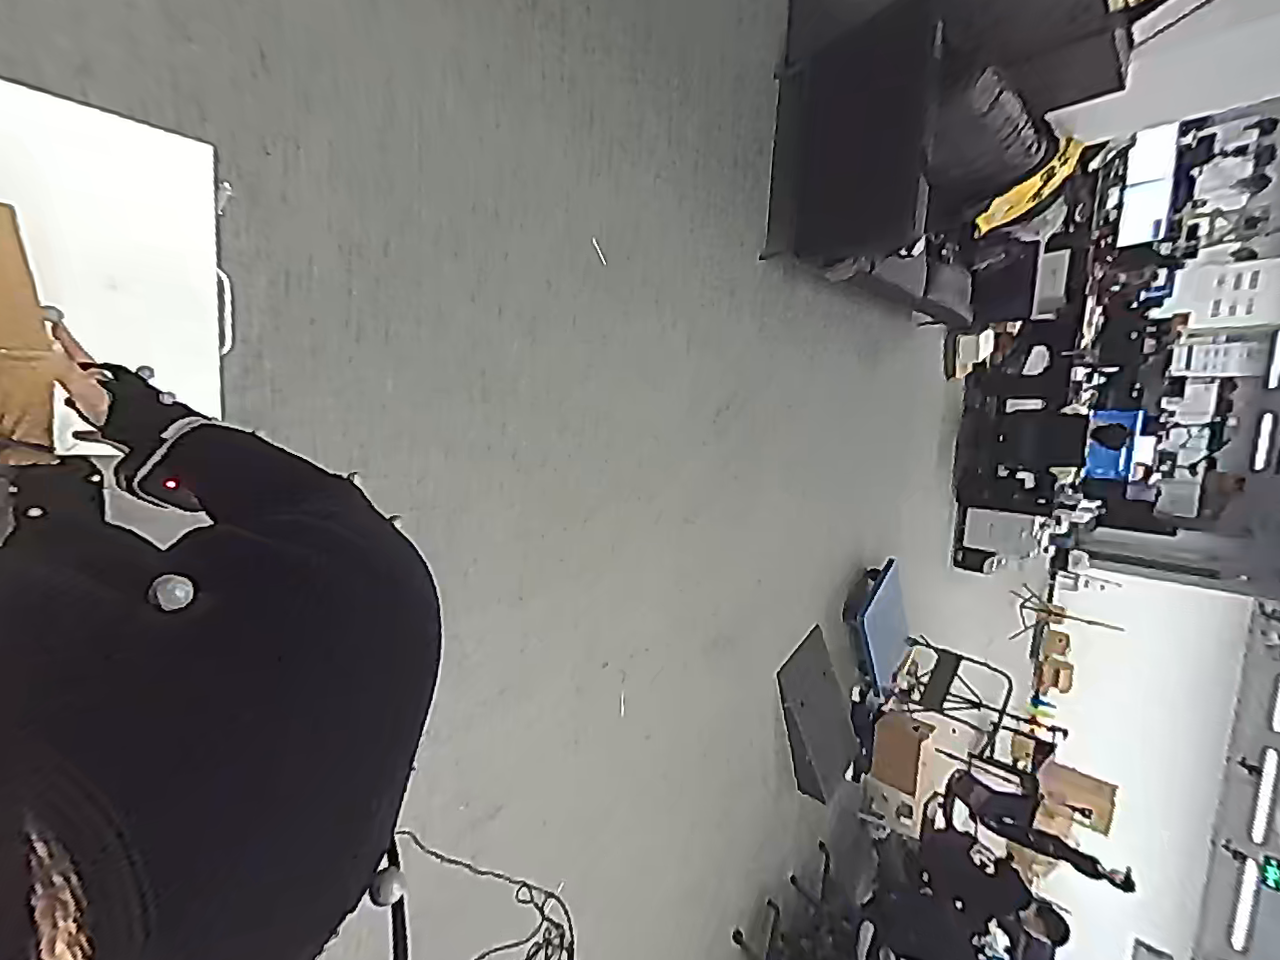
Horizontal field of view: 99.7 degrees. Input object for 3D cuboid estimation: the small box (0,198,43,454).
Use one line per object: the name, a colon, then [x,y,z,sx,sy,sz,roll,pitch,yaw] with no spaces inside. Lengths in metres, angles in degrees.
small box: [-0.627,-0.135,0.439,0.168,0.176,0.179,-12,67,-52]
